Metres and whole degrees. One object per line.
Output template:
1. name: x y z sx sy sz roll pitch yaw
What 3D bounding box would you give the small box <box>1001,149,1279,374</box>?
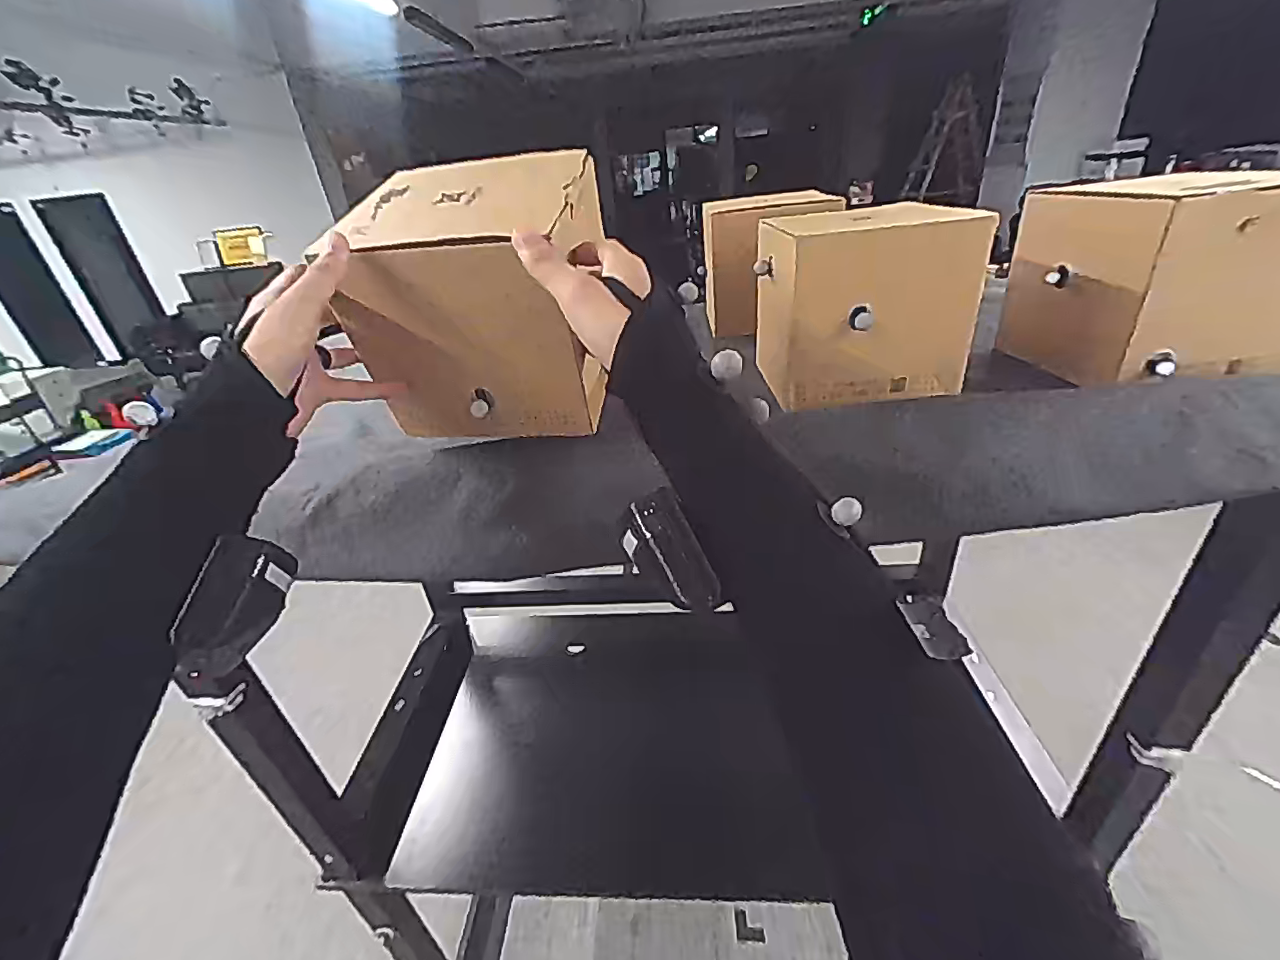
1. small box: 0.489 -0.205 0.515 0.168 0.176 0.179 -7 29 1

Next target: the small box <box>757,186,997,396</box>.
1. small box: 0.216 -0.189 0.546 0.168 0.176 0.179 -5 29 3

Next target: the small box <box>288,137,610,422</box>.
1. small box: -0.127 -0.160 0.449 0.179 0.176 0.168 0 46 9

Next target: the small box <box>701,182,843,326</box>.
1. small box: 0.185 -0.332 0.795 0.179 0.176 0.168 -3 31 5
